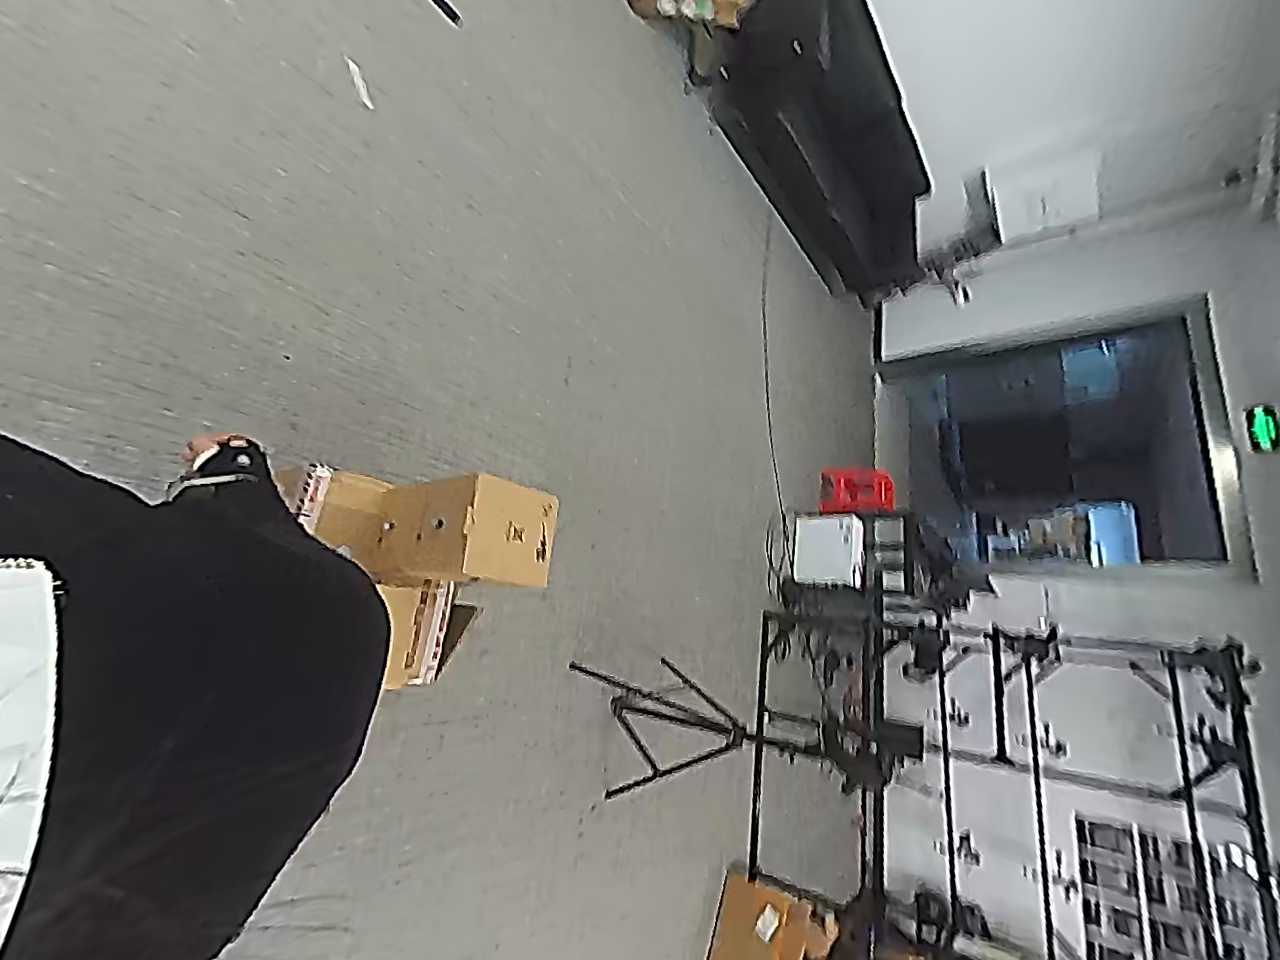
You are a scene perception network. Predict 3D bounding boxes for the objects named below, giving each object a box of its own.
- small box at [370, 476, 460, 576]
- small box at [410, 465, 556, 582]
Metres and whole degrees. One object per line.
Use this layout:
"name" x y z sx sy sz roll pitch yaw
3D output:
"small box" -0.398 0.098 1.069 0.179 0.176 0.168 22 68 -46
"small box" -0.278 0.086 0.956 0.179 0.176 0.168 24 67 -45
